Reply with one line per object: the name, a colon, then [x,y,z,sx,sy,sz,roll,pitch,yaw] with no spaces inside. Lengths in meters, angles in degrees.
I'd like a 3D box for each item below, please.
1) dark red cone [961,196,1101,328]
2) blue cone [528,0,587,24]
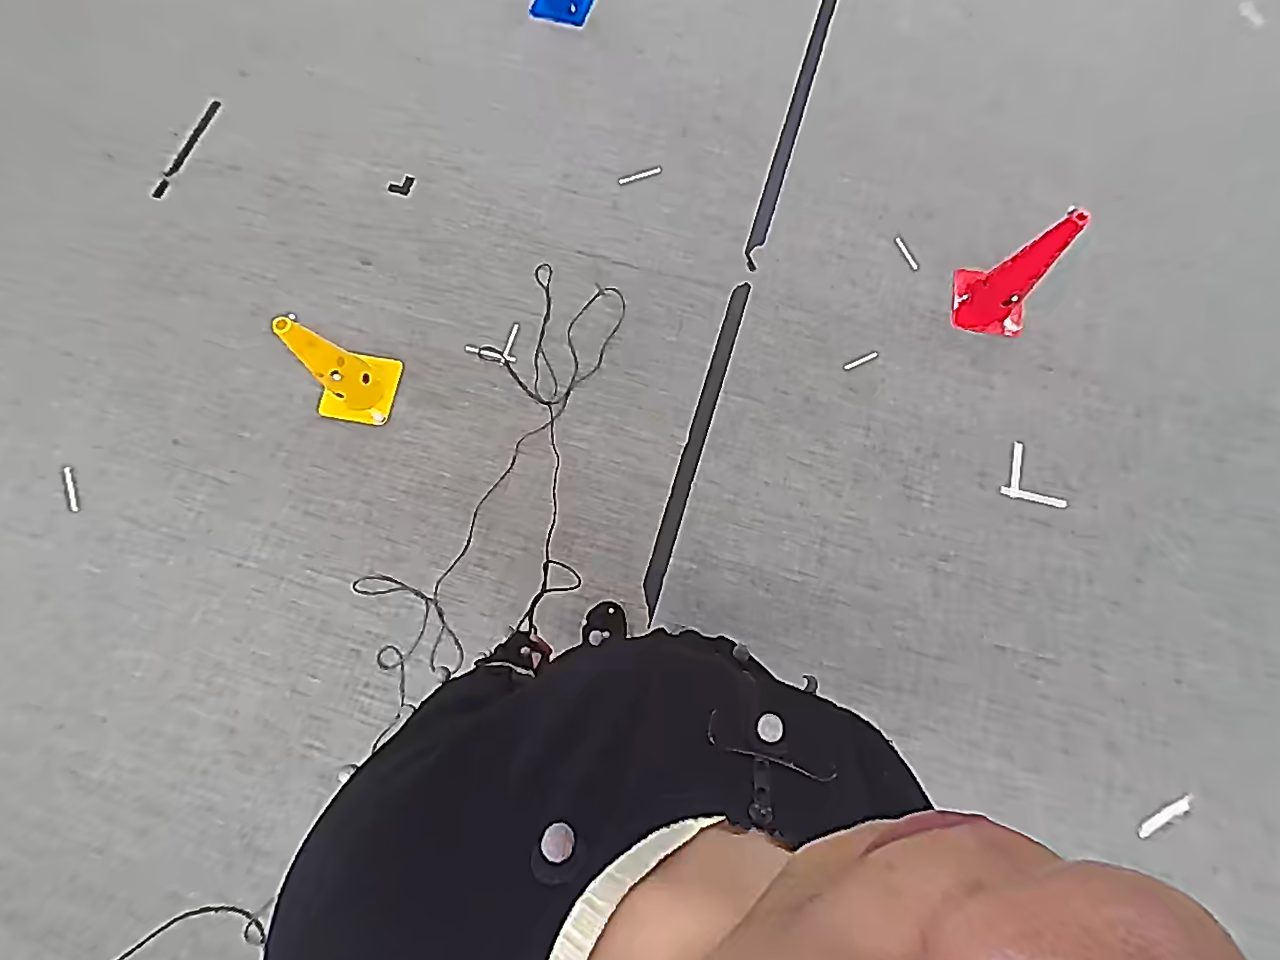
dark red cone: [1.019,-0.573,1.393,0.201,0.394,0.202,8,76,4]
blue cone: [-0.286,-1.708,1.725,0.192,0.380,0.193,16,76,6]
